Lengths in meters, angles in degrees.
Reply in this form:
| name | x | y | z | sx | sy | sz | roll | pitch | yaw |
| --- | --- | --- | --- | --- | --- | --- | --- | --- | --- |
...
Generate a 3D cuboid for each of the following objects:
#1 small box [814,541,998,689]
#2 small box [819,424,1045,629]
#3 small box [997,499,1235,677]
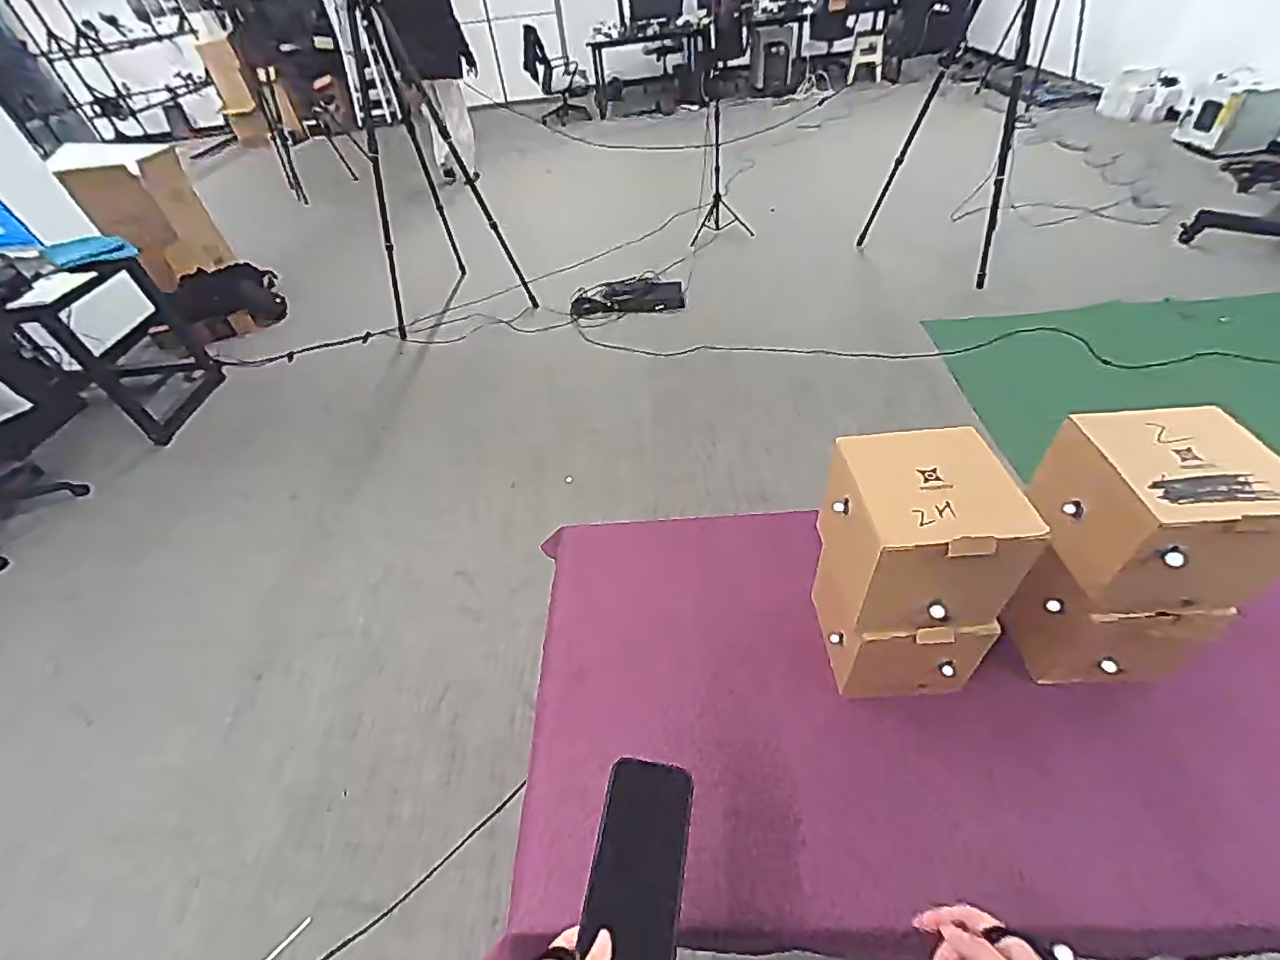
| name | x | y | z | sx | sy | sz | roll | pitch | yaw |
| --- | --- | --- | --- | --- | --- | --- | --- | --- | --- |
| small box | 0.354 | 0.179 | 0.759 | 0.168 | 0.176 | 0.179 | -5 | 44 | 4 |
| small box | 0.325 | 0.057 | 0.651 | 0.168 | 0.176 | 0.179 | -6 | 45 | 3 |
| small box | 0.617 | 0.149 | 0.746 | 0.168 | 0.176 | 0.179 | -5 | 45 | 4 |
